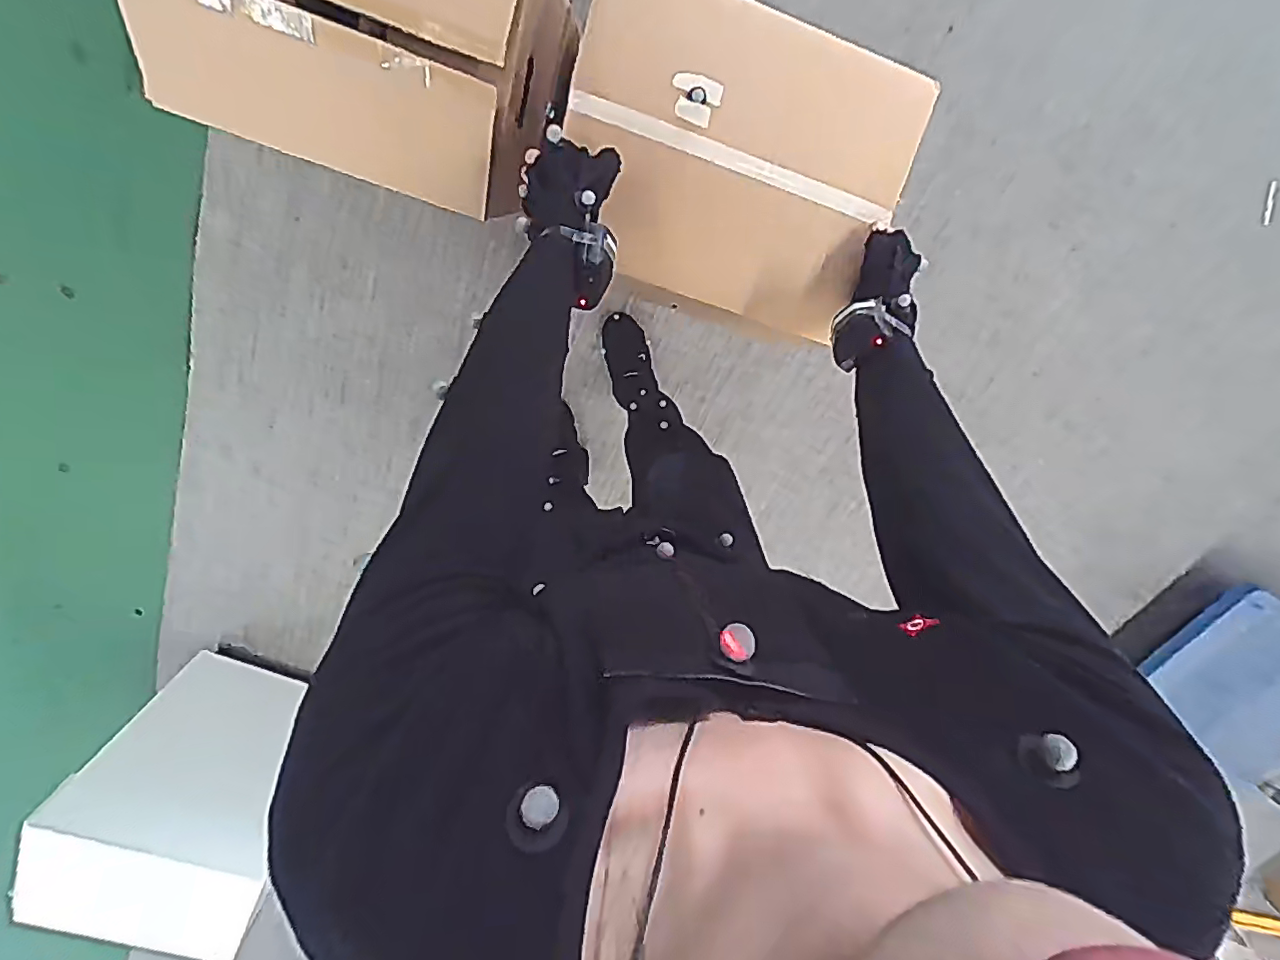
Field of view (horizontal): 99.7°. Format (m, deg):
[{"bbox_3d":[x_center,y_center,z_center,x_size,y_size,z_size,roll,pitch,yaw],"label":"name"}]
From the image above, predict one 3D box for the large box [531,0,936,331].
[{"bbox_3d":[0.099,-0.422,0.766,0.408,0.320,0.320,16,105,-7],"label":"large box"}]
